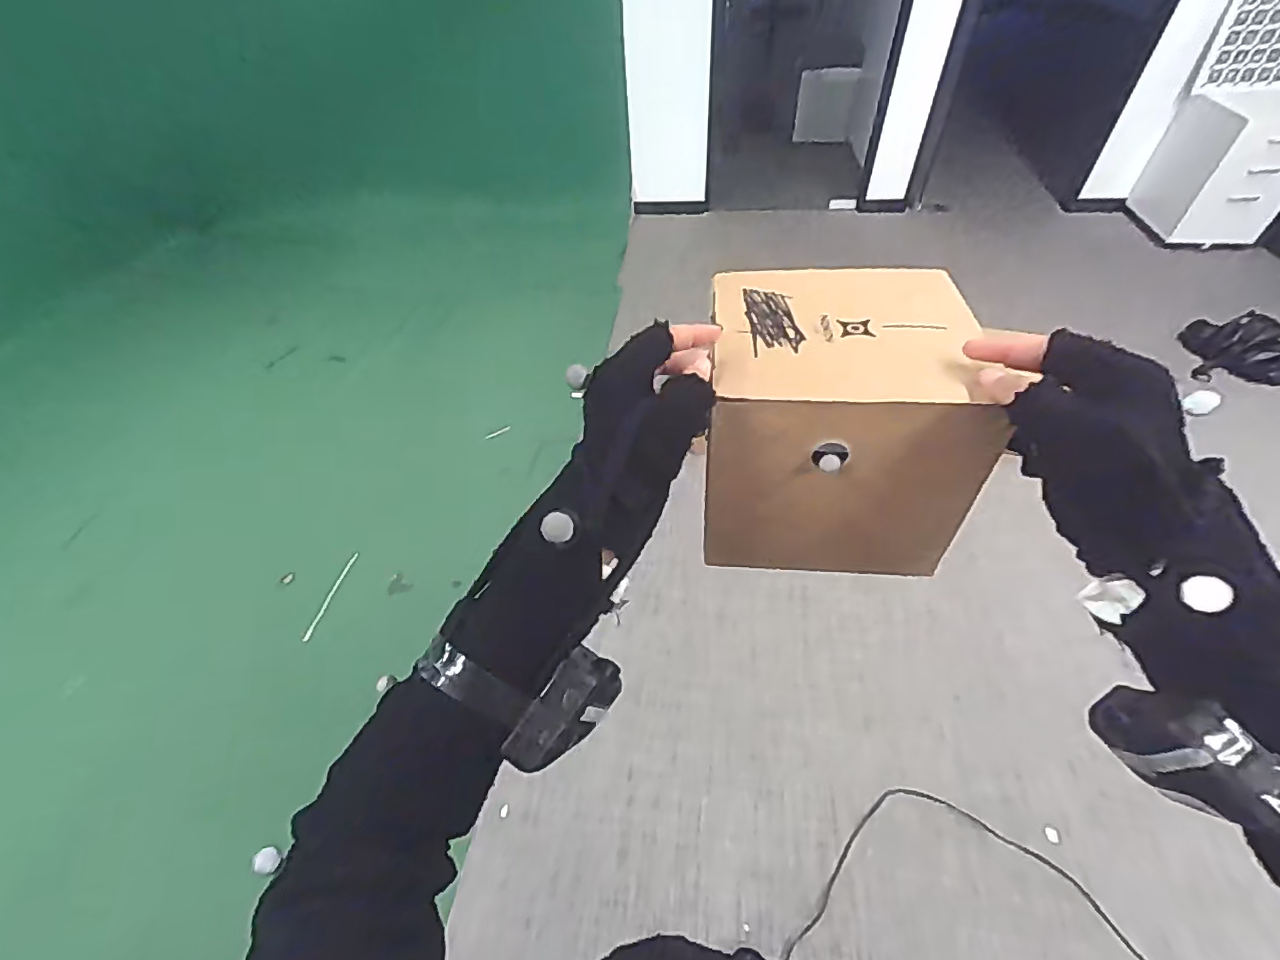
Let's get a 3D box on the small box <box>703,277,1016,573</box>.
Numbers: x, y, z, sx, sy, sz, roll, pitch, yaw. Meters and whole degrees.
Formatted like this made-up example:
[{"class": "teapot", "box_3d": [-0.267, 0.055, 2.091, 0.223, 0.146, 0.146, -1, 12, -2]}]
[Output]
[{"class": "small box", "box_3d": [0.141, -0.042, 0.425, 0.179, 0.176, 0.168, 3, 46, 6]}]
